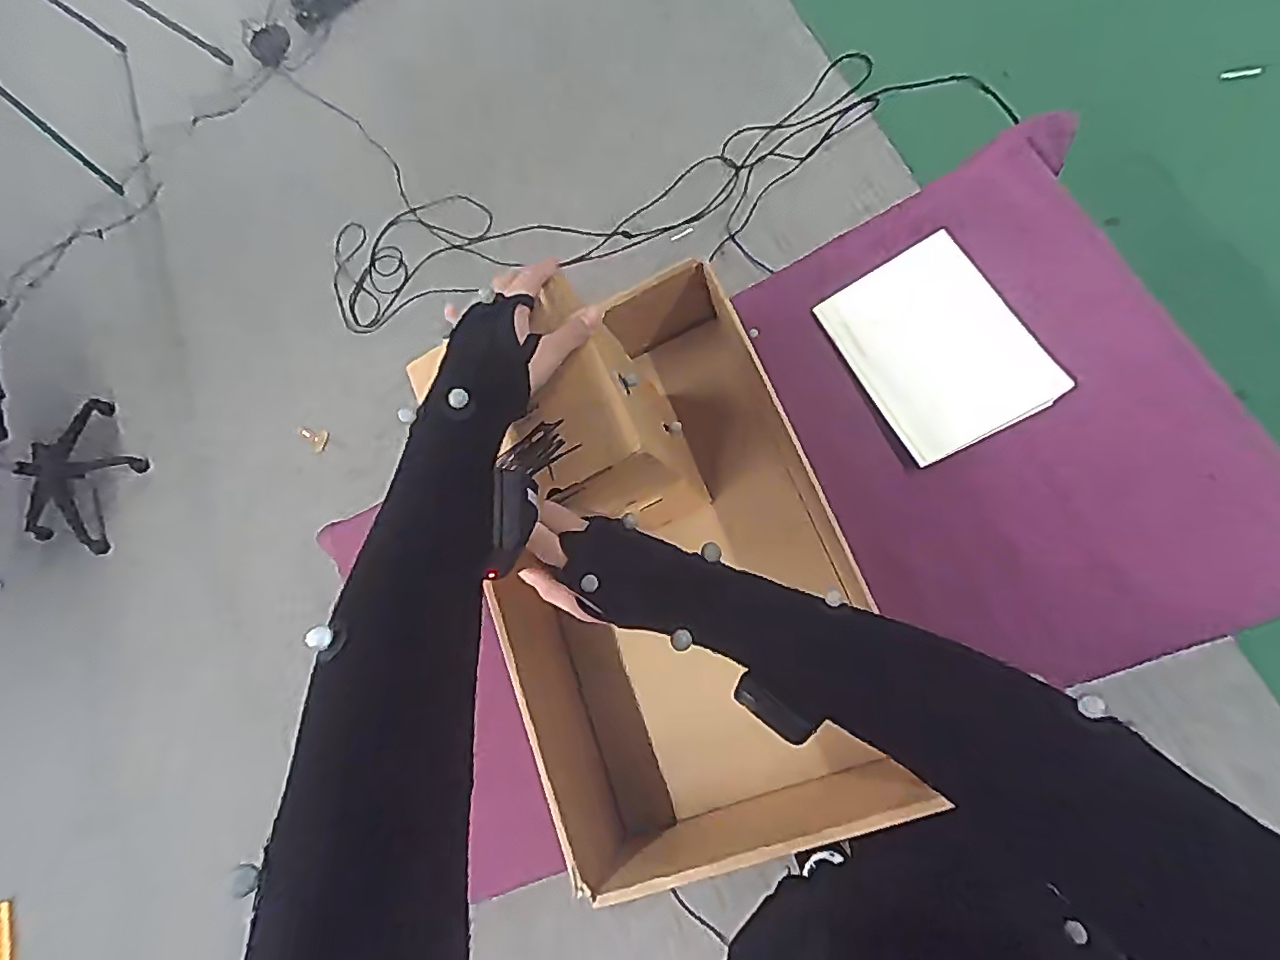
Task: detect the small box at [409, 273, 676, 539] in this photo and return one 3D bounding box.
[{"bbox_3d":[-0.081,-0.054,0.525,0.168,0.176,0.179,-28,75,10],"label":"small box"}]

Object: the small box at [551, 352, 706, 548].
[{"bbox_3d":[-0.033,-0.024,0.680,0.168,0.176,0.179,-27,76,11],"label":"small box"}]
